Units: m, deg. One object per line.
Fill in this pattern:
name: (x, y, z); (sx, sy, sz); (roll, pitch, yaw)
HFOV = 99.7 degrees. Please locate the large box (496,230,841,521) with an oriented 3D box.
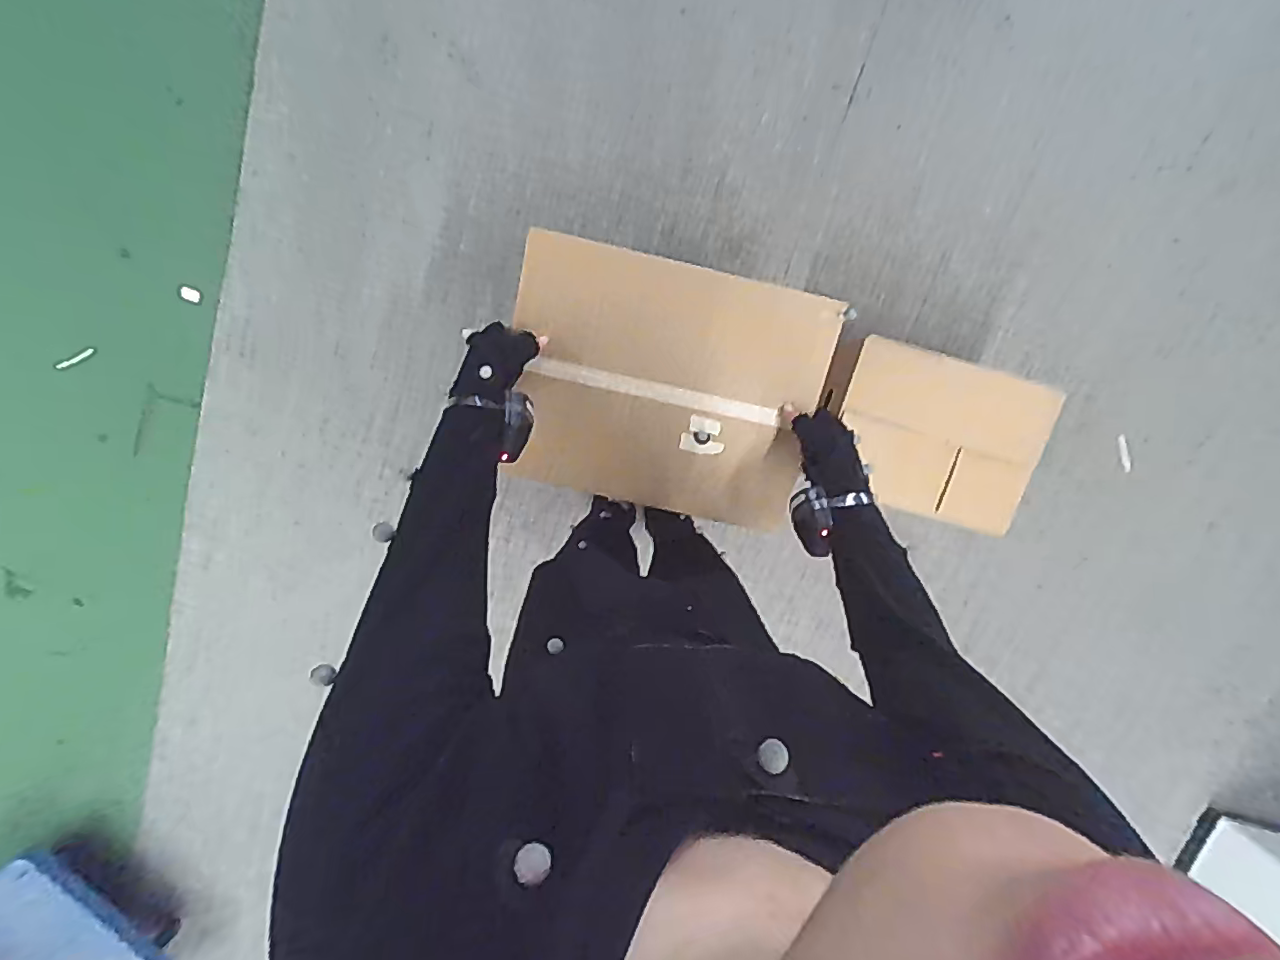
large box: (0.026, -0.158, 0.844); (0.408, 0.320, 0.320); (12, 104, -3)
